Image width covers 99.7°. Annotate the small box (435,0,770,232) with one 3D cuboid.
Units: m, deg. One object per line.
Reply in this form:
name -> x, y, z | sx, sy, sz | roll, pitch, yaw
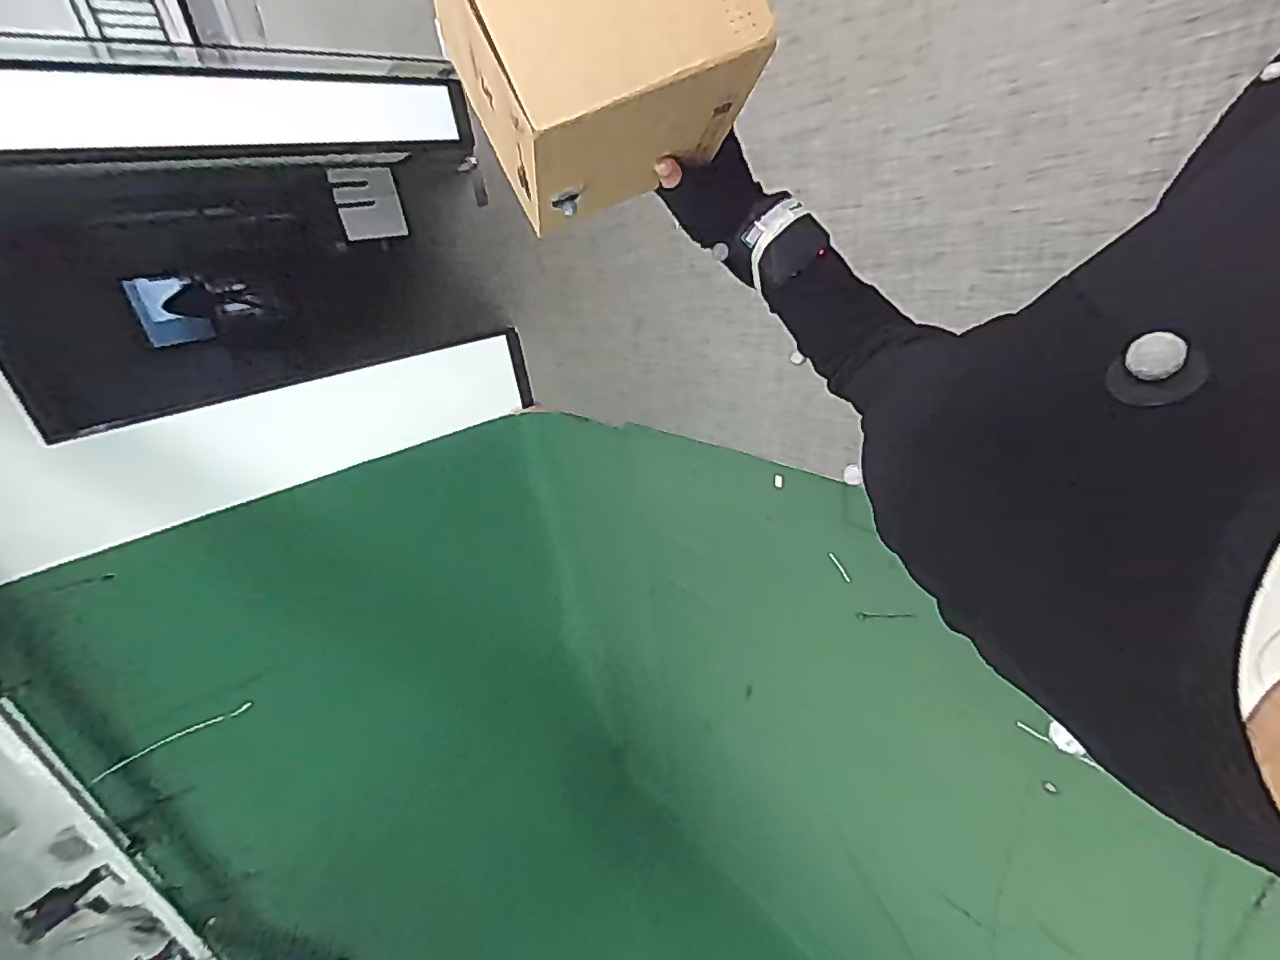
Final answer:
small box -> -0.037, -0.315, 0.382 | 0.179, 0.176, 0.168 | 65, 174, -8
